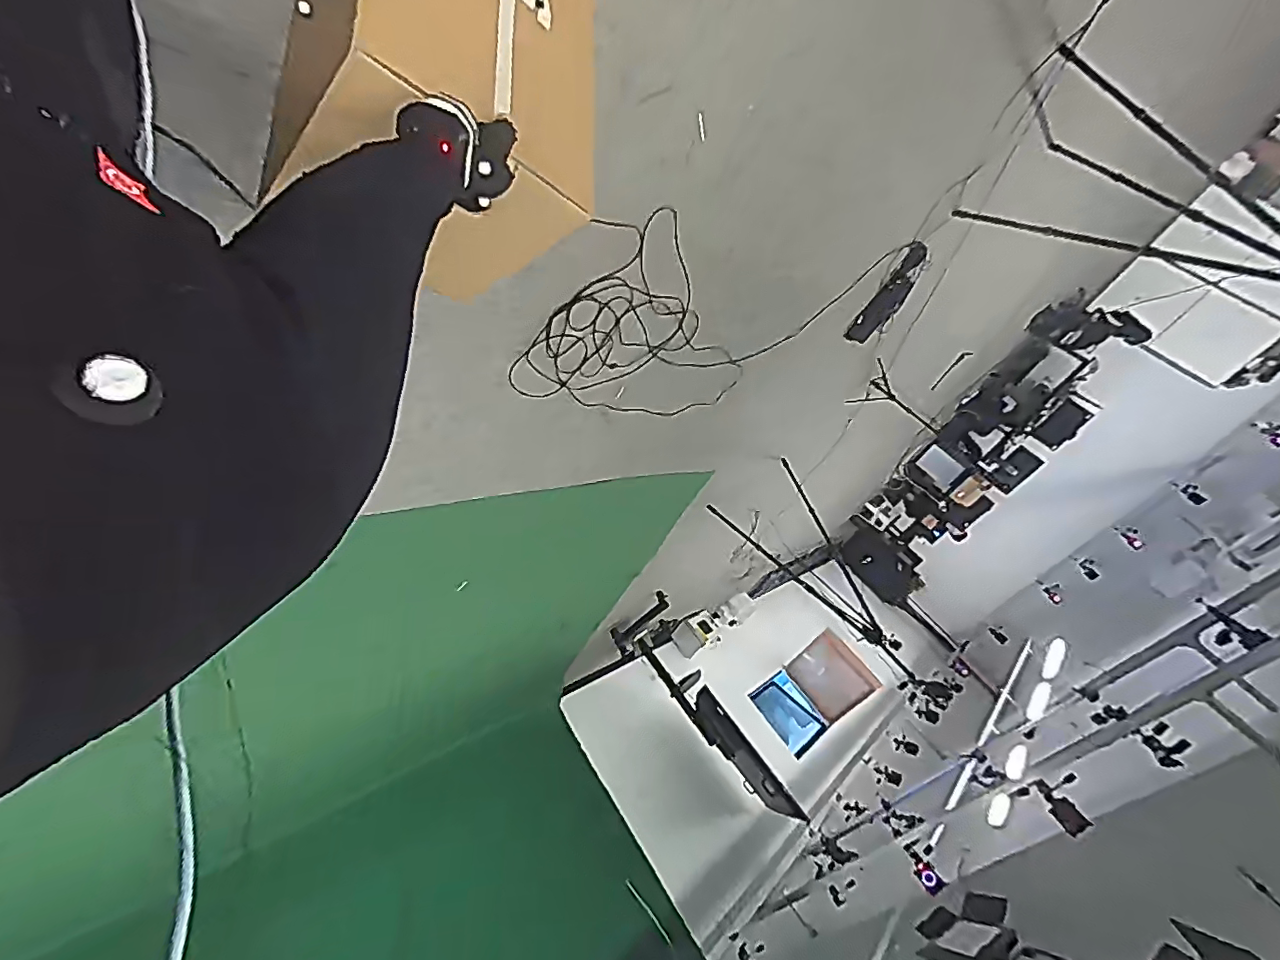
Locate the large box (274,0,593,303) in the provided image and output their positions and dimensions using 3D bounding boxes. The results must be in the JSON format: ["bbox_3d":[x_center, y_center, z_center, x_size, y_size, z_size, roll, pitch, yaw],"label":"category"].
[{"bbox_3d":[-0.286,-0.538,0.771,0.320,0.408,0.320,-14,161,39],"label":"large box"}]
